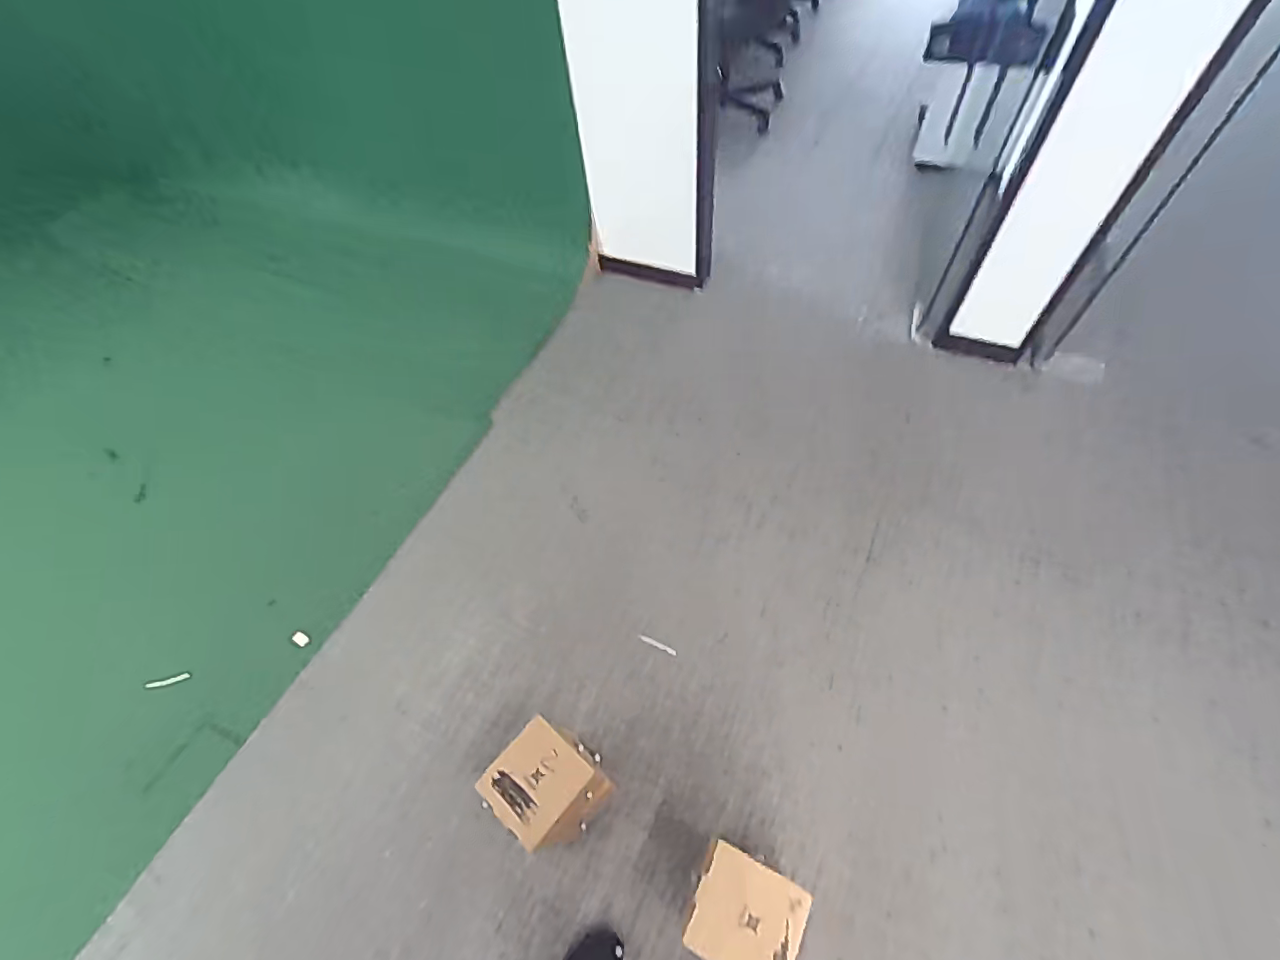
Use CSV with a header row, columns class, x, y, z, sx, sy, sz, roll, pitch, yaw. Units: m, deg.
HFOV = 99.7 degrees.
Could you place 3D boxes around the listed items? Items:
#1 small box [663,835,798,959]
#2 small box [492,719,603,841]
class,x,y,z,sx,sy,sz,roll,pitch,yaw
small box,0.156,0.767,0.959,0.179,0.176,0.168,24,62,19
small box,-0.201,0.685,1.233,0.179,0.176,0.168,-38,63,-19
